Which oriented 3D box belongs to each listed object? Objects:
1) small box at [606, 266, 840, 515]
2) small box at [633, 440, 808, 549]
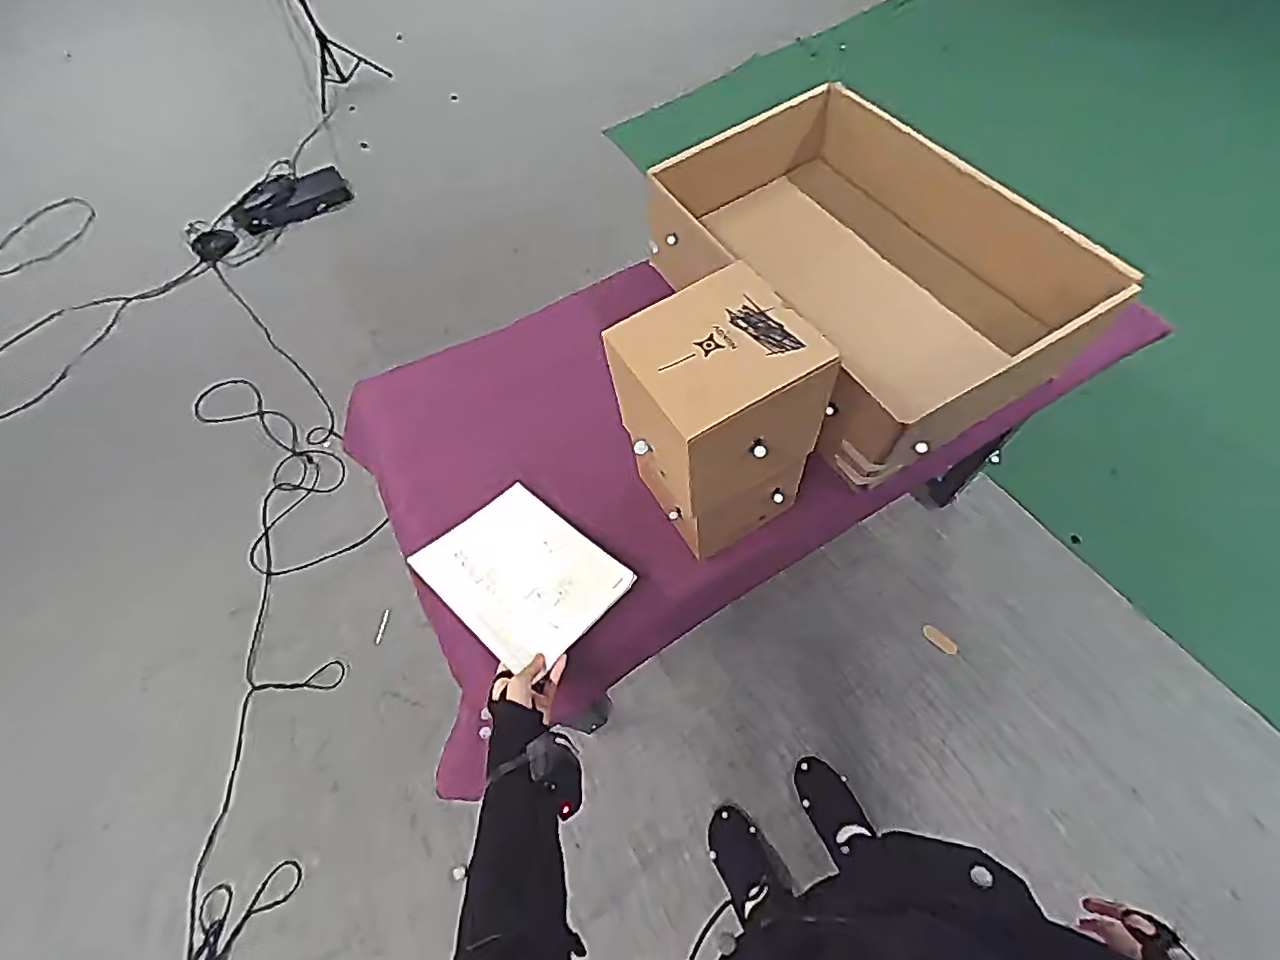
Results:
[{"bbox_3d":[0.084,-0.092,0.599,0.179,0.176,0.168,-29,61,-9],"label":"small box"},{"bbox_3d":[0.104,-0.024,0.748,0.168,0.176,0.179,-29,61,-9],"label":"small box"}]
